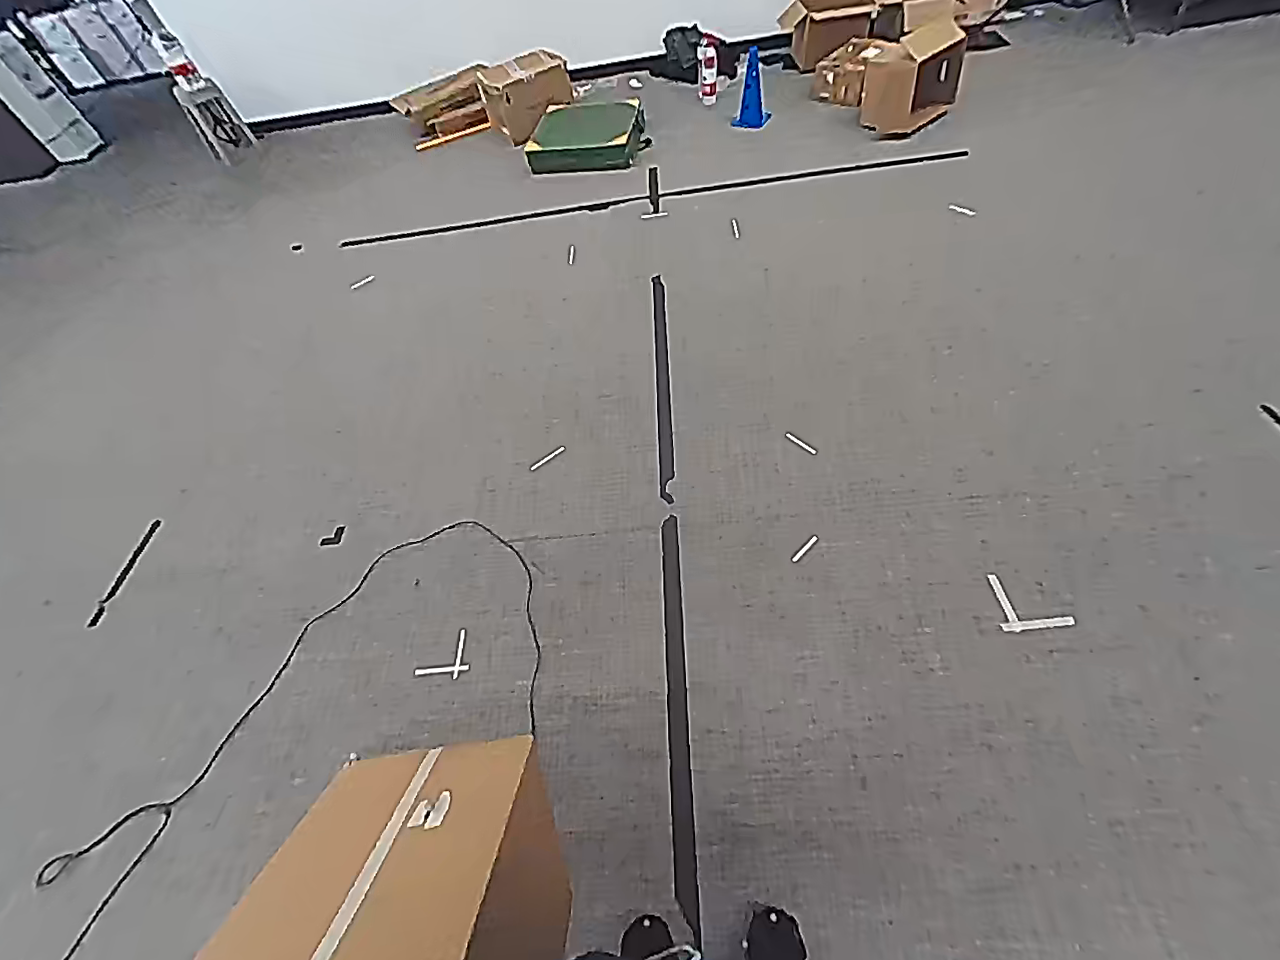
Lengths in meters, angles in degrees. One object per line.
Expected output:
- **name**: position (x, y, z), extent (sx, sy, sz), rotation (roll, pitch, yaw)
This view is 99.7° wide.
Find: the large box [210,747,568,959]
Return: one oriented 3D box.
- **large box**: position (-0.298, 0.632, 0.698), extent (0.320, 0.320, 0.408), rotation (-9, 11, 4)
